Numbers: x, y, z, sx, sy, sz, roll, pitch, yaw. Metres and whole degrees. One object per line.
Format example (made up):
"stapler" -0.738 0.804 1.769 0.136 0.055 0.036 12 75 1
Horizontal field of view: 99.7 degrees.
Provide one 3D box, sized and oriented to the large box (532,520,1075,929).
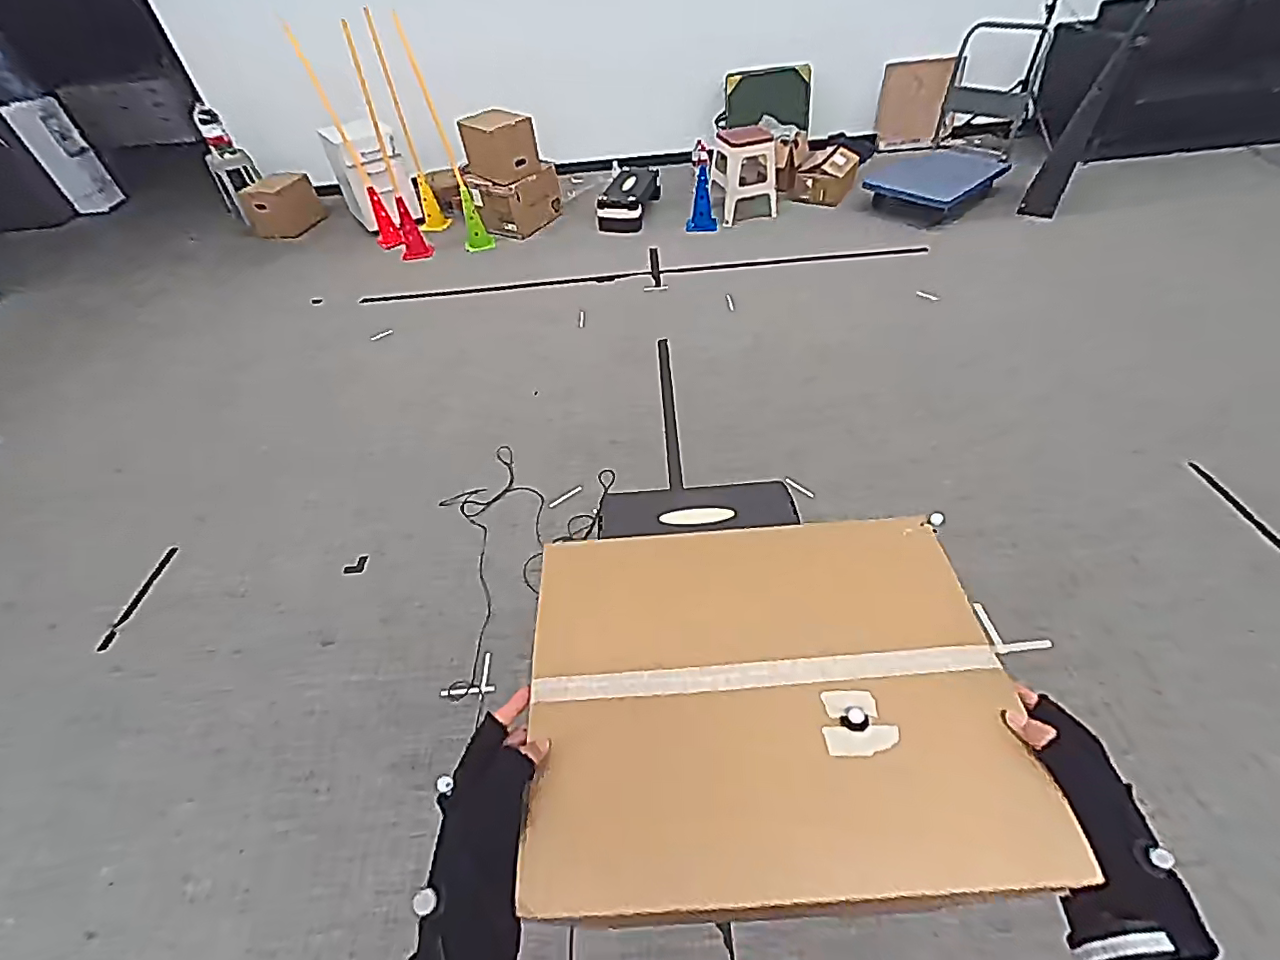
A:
"large box" 0.117 0.273 0.596 0.408 0.320 0.320 -5 49 1
